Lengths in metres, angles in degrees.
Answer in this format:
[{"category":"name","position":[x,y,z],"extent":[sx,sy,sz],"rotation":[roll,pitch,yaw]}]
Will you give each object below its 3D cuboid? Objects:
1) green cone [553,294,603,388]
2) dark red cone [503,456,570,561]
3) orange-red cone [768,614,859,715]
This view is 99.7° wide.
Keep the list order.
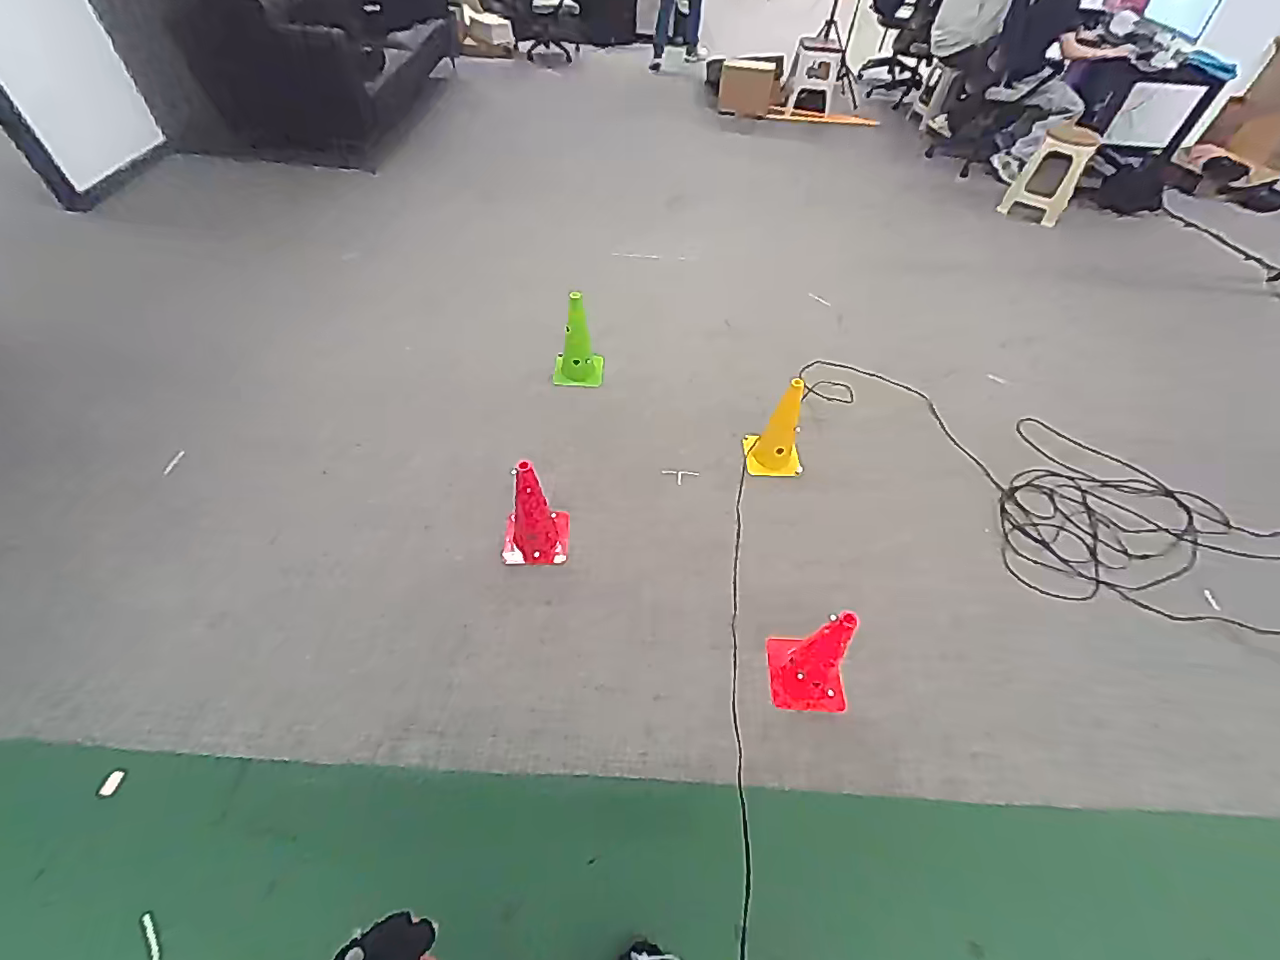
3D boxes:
[{"category":"green cone","position":[-0.247,-0.564,2.145],"extent":[0.202,0.368,0.200],"rotation":[3,51,-2]},{"category":"dark red cone","position":[-0.317,0.068,1.585],"extent":[0.202,0.394,0.201],"rotation":[0,52,-4]},{"category":"orange-red cone","position":[0.469,0.431,1.364],"extent":[0.198,0.360,0.199],"rotation":[5,49,-1]}]
